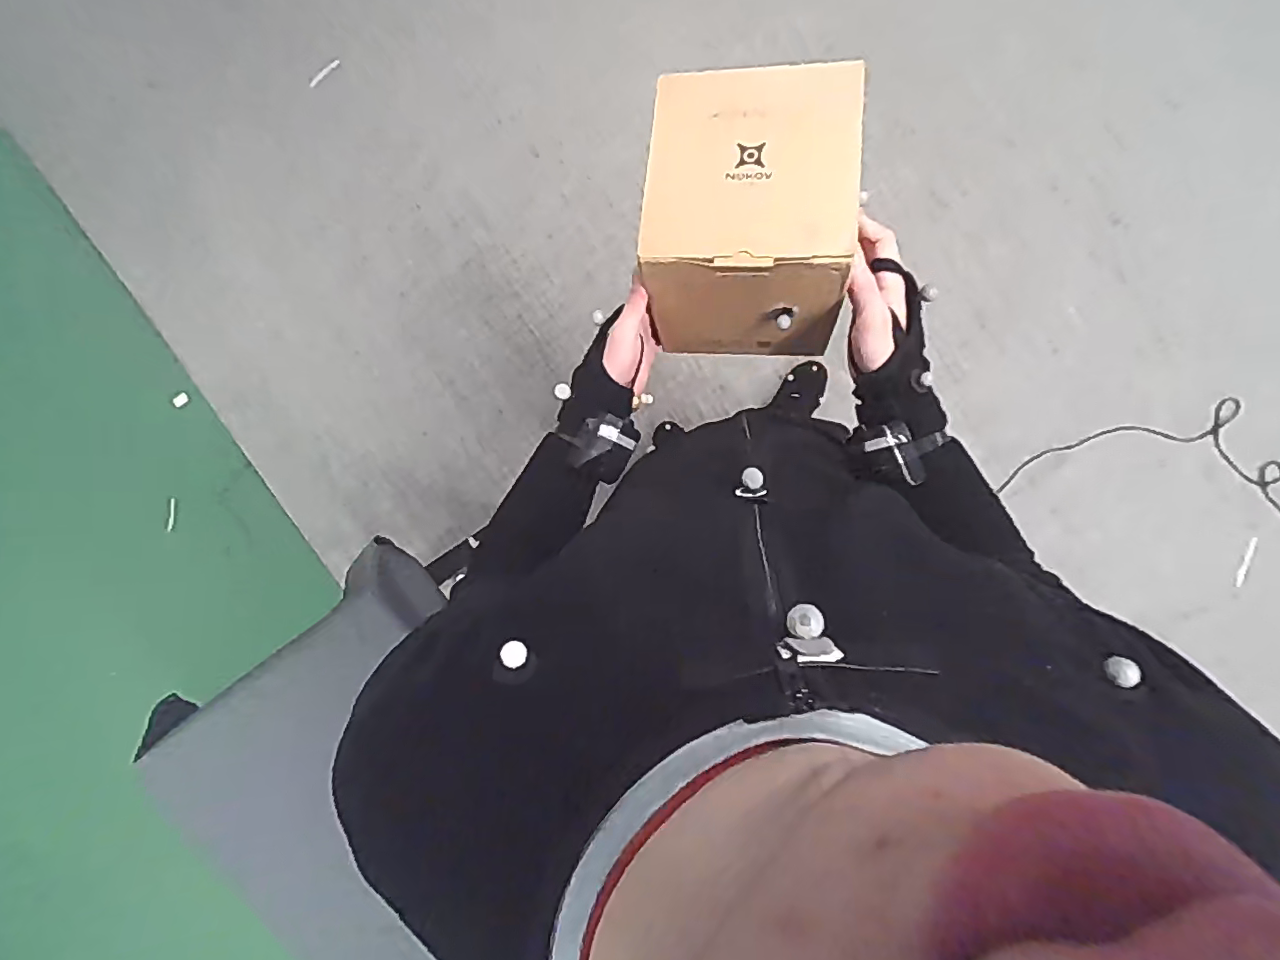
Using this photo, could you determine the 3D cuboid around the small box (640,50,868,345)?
[{"bbox_3d":[0.101,-0.237,0.494,0.168,0.176,0.179,4,78,10],"label":"small box"}]
